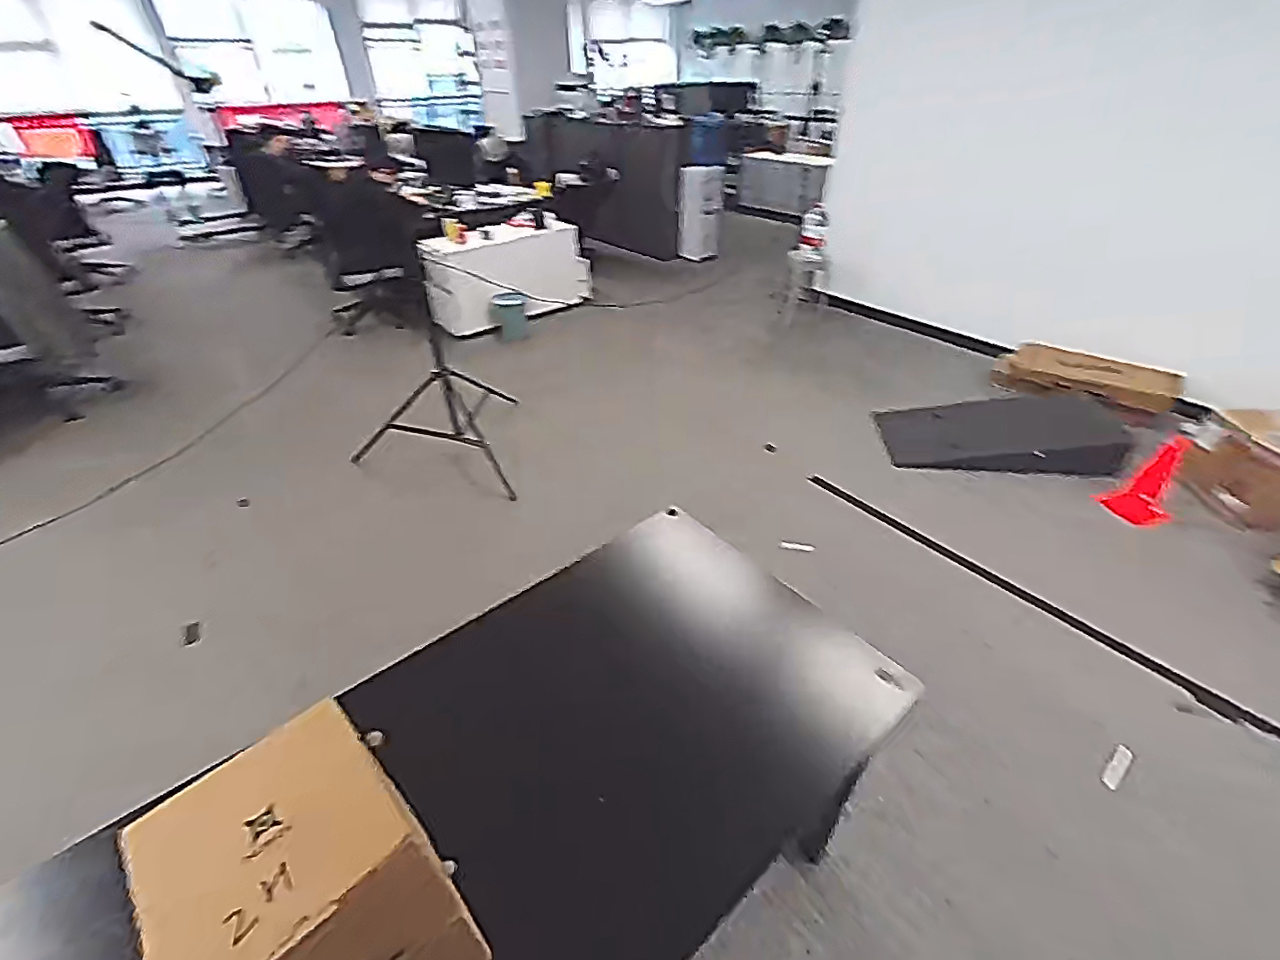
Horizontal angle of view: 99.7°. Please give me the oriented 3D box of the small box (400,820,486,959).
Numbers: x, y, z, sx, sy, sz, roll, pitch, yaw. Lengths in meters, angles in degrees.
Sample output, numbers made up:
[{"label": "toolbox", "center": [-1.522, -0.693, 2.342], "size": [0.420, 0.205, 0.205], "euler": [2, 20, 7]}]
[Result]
[{"label": "small box", "center": [-0.288, 0.479, 0.580], "size": [0.168, 0.176, 0.179], "euler": [-31, 46, -33]}]

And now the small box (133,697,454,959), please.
[{"label": "small box", "center": [-0.295, 0.344, 0.483], "size": [0.179, 0.176, 0.168], "euler": [30, 48, 35]}]
